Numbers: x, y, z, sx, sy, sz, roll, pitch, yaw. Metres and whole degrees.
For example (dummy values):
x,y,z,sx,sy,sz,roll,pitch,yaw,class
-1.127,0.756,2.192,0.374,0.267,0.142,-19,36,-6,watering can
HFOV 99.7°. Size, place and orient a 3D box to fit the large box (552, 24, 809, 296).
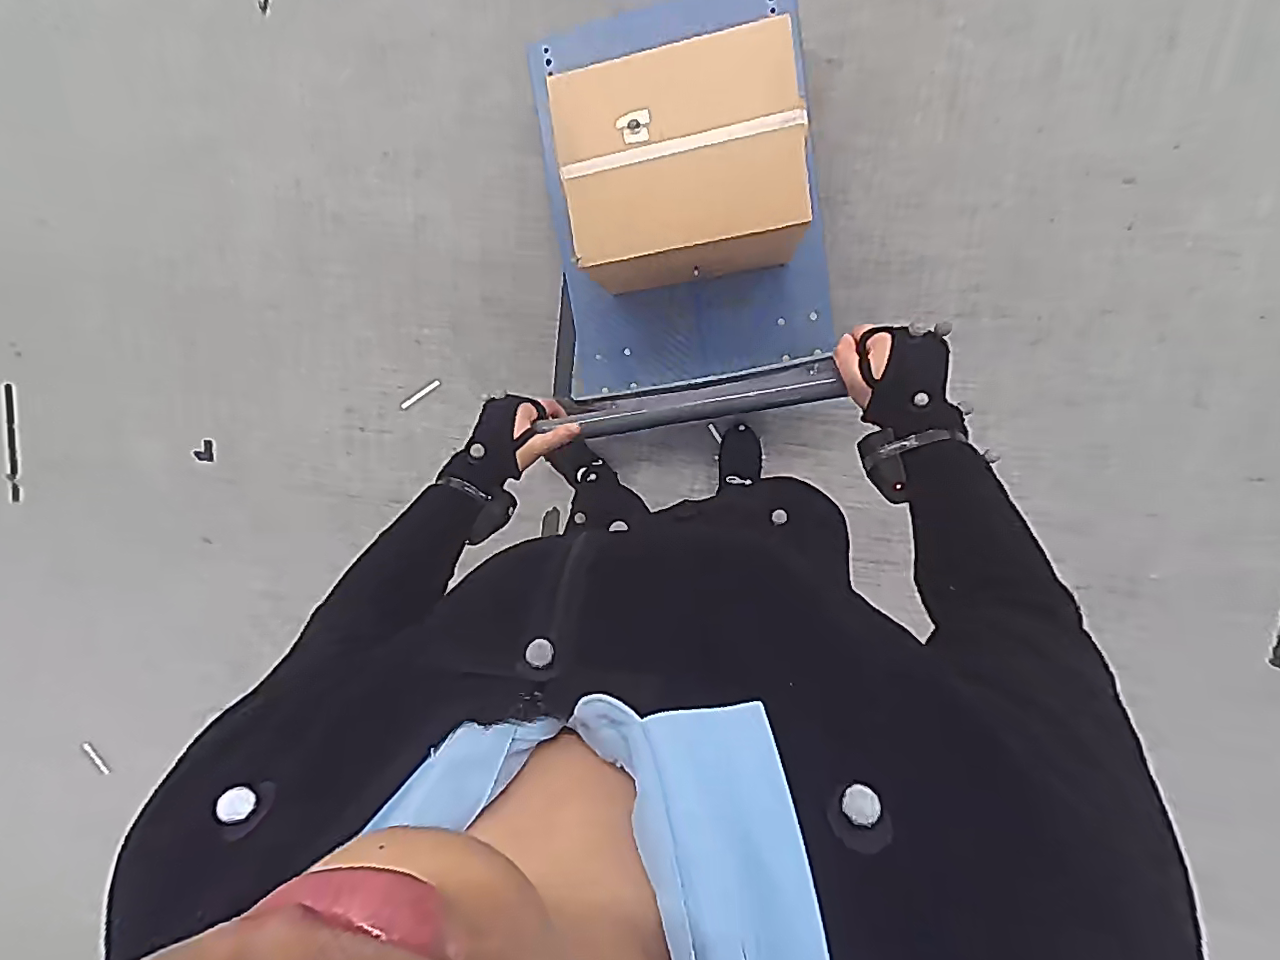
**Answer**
x,y,z,sx,sy,sz,roll,pitch,yaw,class
0.089,-0.576,1.059,0.408,0.320,0.320,-8,98,10,large box
